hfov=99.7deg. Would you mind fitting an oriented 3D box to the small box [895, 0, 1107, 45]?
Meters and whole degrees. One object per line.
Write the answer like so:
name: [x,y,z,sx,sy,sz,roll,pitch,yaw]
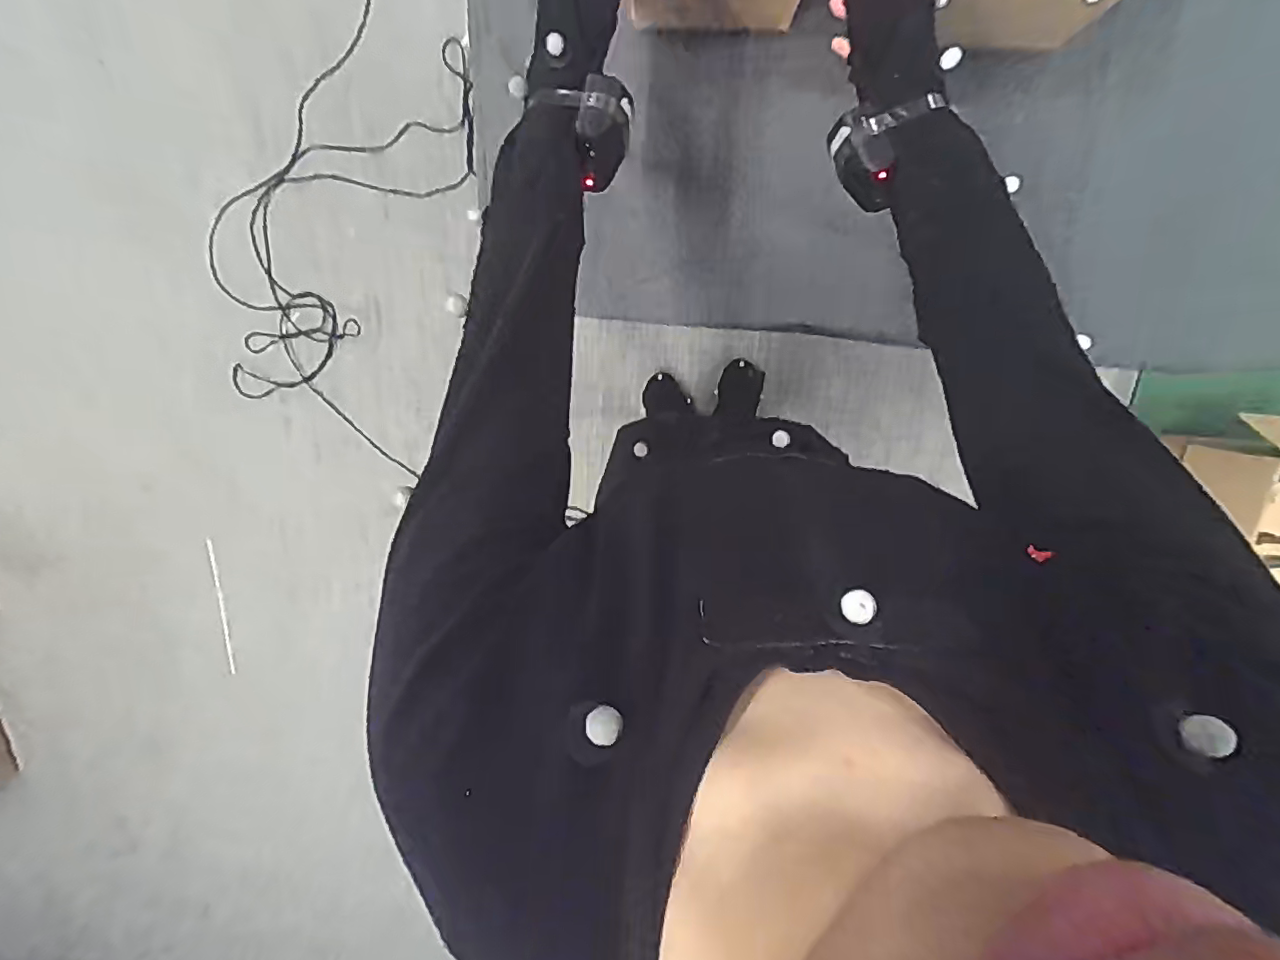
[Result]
small box: [0.361,-0.531,0.488,0.179,0.176,0.168,3,105,3]
